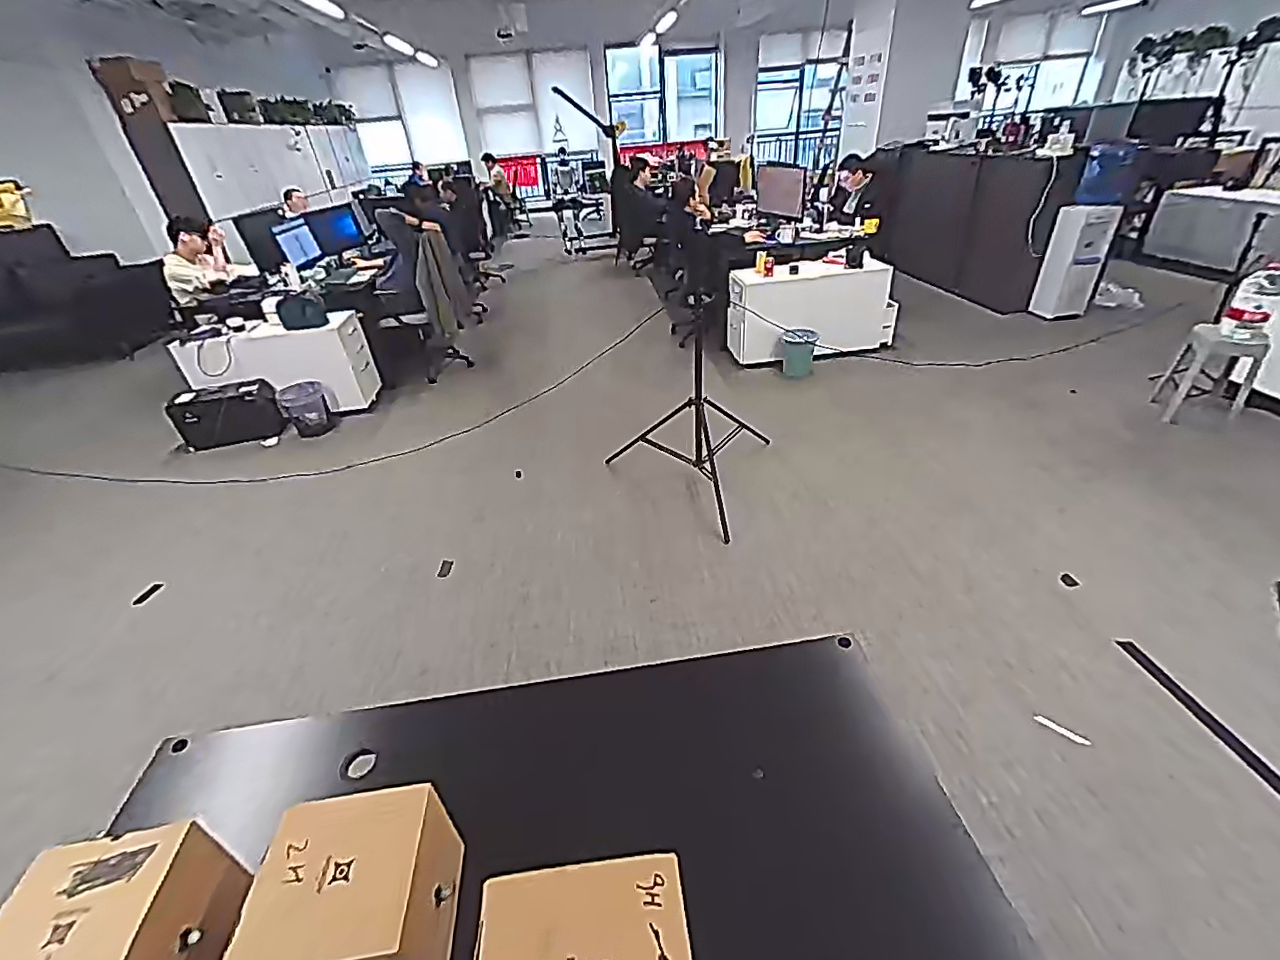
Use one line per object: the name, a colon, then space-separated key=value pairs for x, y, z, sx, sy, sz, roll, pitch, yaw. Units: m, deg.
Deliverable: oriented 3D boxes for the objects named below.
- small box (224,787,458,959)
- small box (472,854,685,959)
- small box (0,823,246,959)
small box: x=-0.326 y=0.495 z=0.631 sx=0.179 sy=0.176 sz=0.168 roll=-8 pitch=33 yaw=-4
small box: x=-0.045 y=0.465 z=0.471 sx=0.179 sy=0.176 sz=0.168 roll=-5 pitch=33 yaw=-4
small box: x=-0.590 y=0.531 z=0.609 sx=0.168 sy=0.176 sz=0.179 roll=-9 pitch=35 yaw=-6
